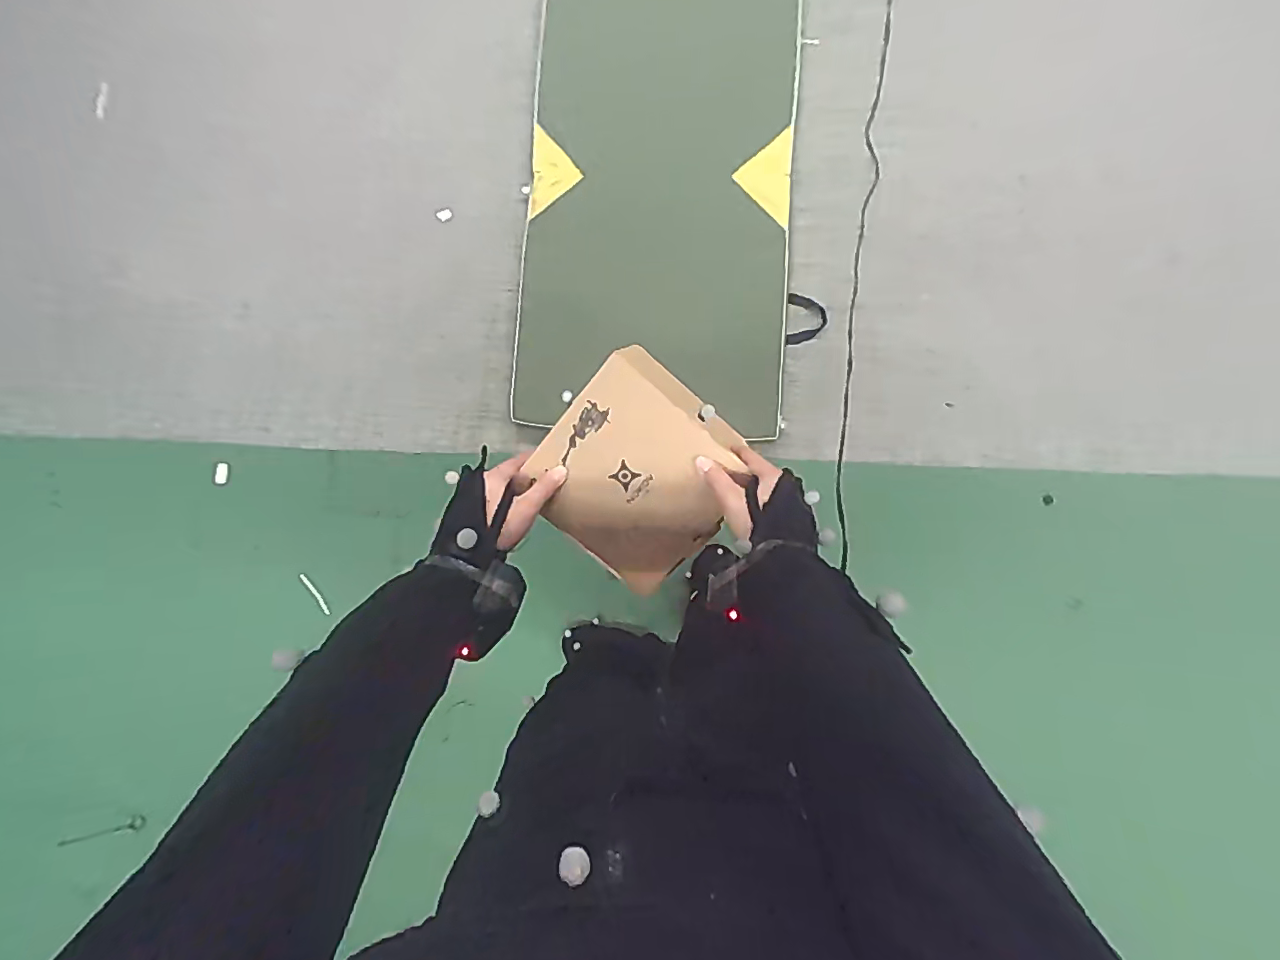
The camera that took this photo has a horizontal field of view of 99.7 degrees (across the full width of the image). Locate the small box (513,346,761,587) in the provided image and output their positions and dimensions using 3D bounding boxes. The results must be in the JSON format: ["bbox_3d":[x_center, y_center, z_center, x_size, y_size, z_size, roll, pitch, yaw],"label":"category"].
[{"bbox_3d":[0.003,-0.028,0.577,0.179,0.176,0.168,41,106,-7],"label":"small box"}]
